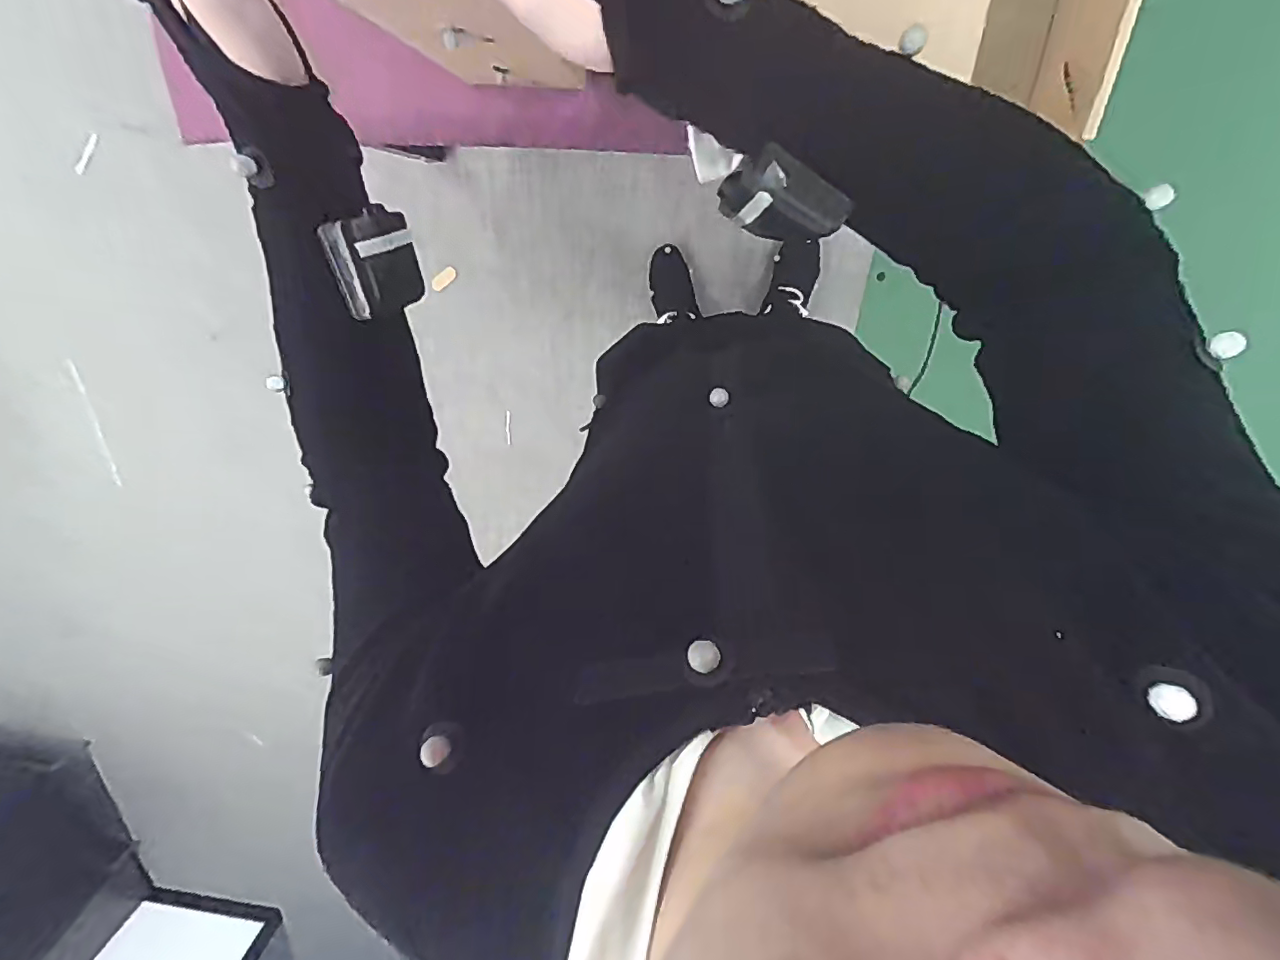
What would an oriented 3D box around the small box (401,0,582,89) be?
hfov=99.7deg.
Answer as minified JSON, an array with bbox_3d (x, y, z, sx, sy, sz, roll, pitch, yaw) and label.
[{"bbox_3d":[-0.162,-0.569,0.614,0.168,0.176,0.179,6,114,4],"label":"small box"}]

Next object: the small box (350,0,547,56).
[{"bbox_3d":[-0.180,-0.503,0.465,0.168,0.176,0.179,7,114,5],"label":"small box"}]
